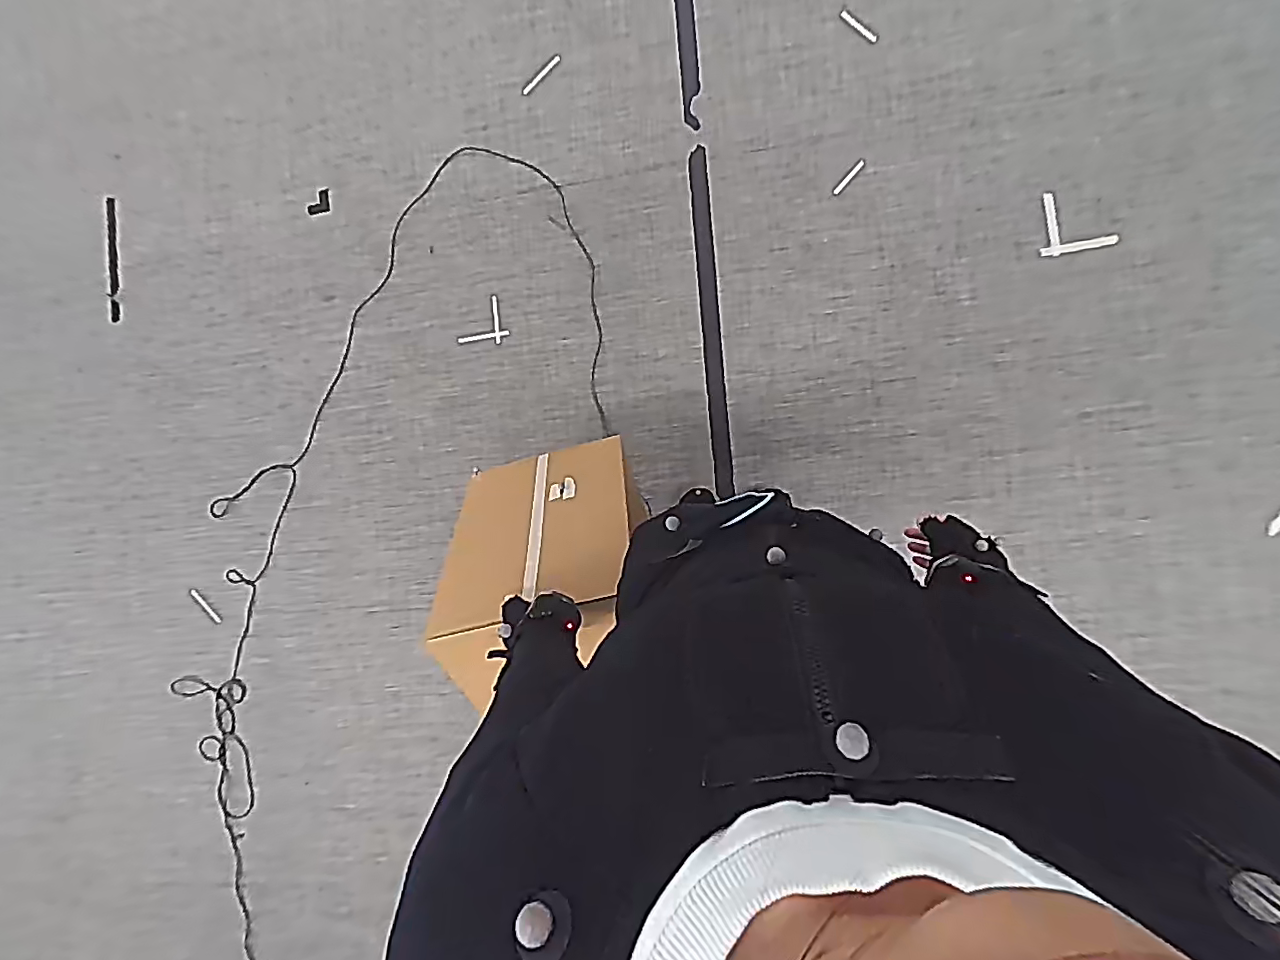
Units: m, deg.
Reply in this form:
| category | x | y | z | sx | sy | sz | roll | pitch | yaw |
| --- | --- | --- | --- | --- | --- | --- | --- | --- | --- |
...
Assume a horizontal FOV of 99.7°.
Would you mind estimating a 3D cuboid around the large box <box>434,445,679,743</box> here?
| category | x | y | z | sx | sy | sz | roll | pitch | yaw |
| --- | --- | --- | --- | --- | --- | --- | --- | --- | --- |
| large box | -0.131 | 0.197 | 1.005 | 0.320 | 0.408 | 0.320 | -13 | 125 | 4 |
